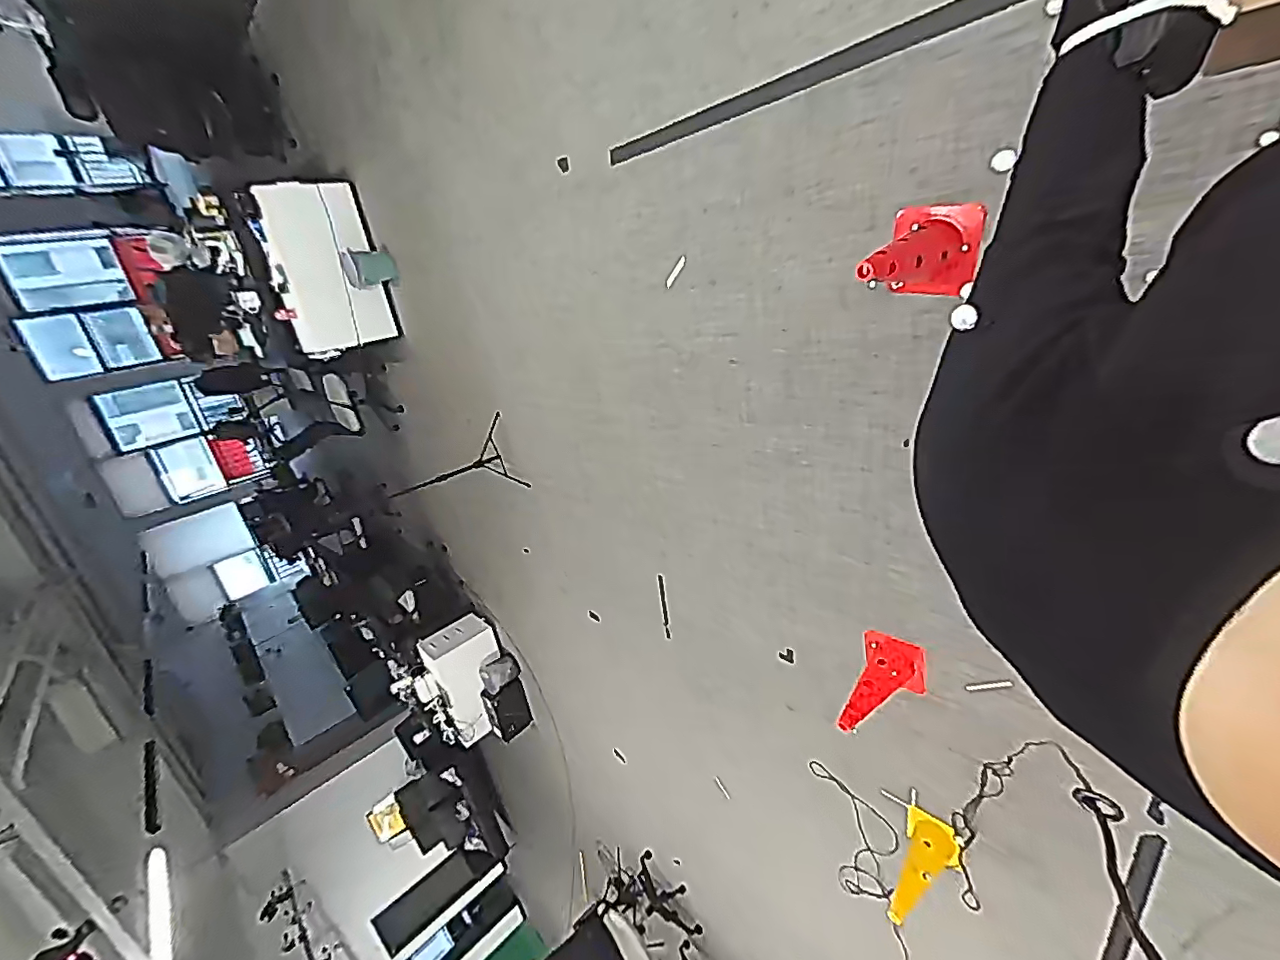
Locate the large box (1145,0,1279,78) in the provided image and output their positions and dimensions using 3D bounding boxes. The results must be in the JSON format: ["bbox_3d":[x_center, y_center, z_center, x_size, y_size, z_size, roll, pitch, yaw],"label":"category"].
[{"bbox_3d":[0.596,-0.480,0.295,0.408,0.320,0.320,18,123,46],"label":"large box"}]

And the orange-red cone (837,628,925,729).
[{"bbox_3d":[0.743,0.675,1.740,0.198,0.360,0.199,12,122,48],"label":"orange-red cone"}]

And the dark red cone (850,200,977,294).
[{"bbox_3d":[0.568,-0.490,1.189,0.201,0.394,0.202,20,127,41],"label":"dark red cone"}]
